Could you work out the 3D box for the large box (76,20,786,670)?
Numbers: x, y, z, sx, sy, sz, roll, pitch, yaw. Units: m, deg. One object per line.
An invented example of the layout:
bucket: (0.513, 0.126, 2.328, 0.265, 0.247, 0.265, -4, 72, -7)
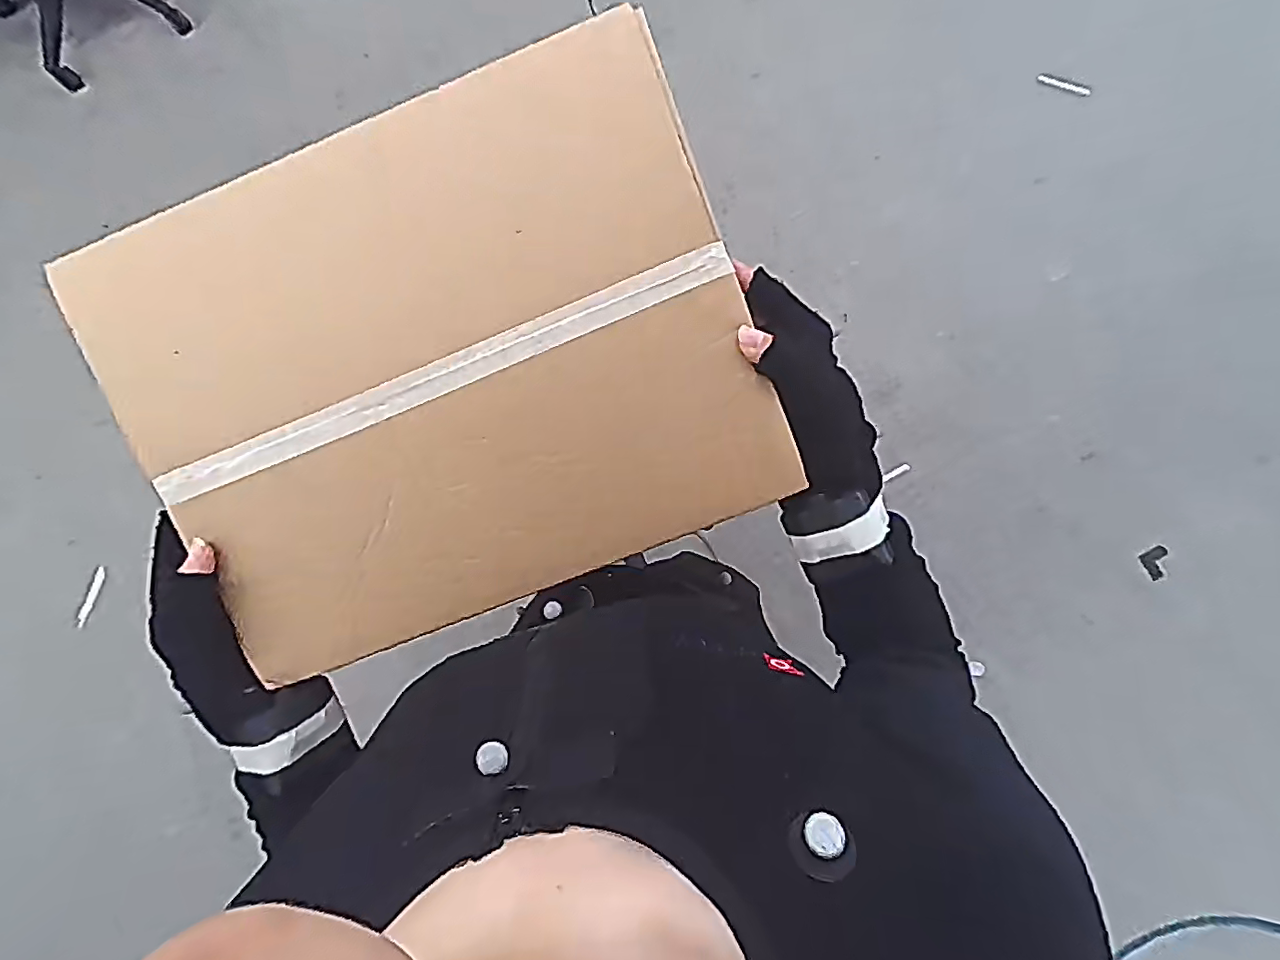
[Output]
large box: (-0.133, -0.095, 0.511, 0.408, 0.320, 0.320, -21, 97, 4)
